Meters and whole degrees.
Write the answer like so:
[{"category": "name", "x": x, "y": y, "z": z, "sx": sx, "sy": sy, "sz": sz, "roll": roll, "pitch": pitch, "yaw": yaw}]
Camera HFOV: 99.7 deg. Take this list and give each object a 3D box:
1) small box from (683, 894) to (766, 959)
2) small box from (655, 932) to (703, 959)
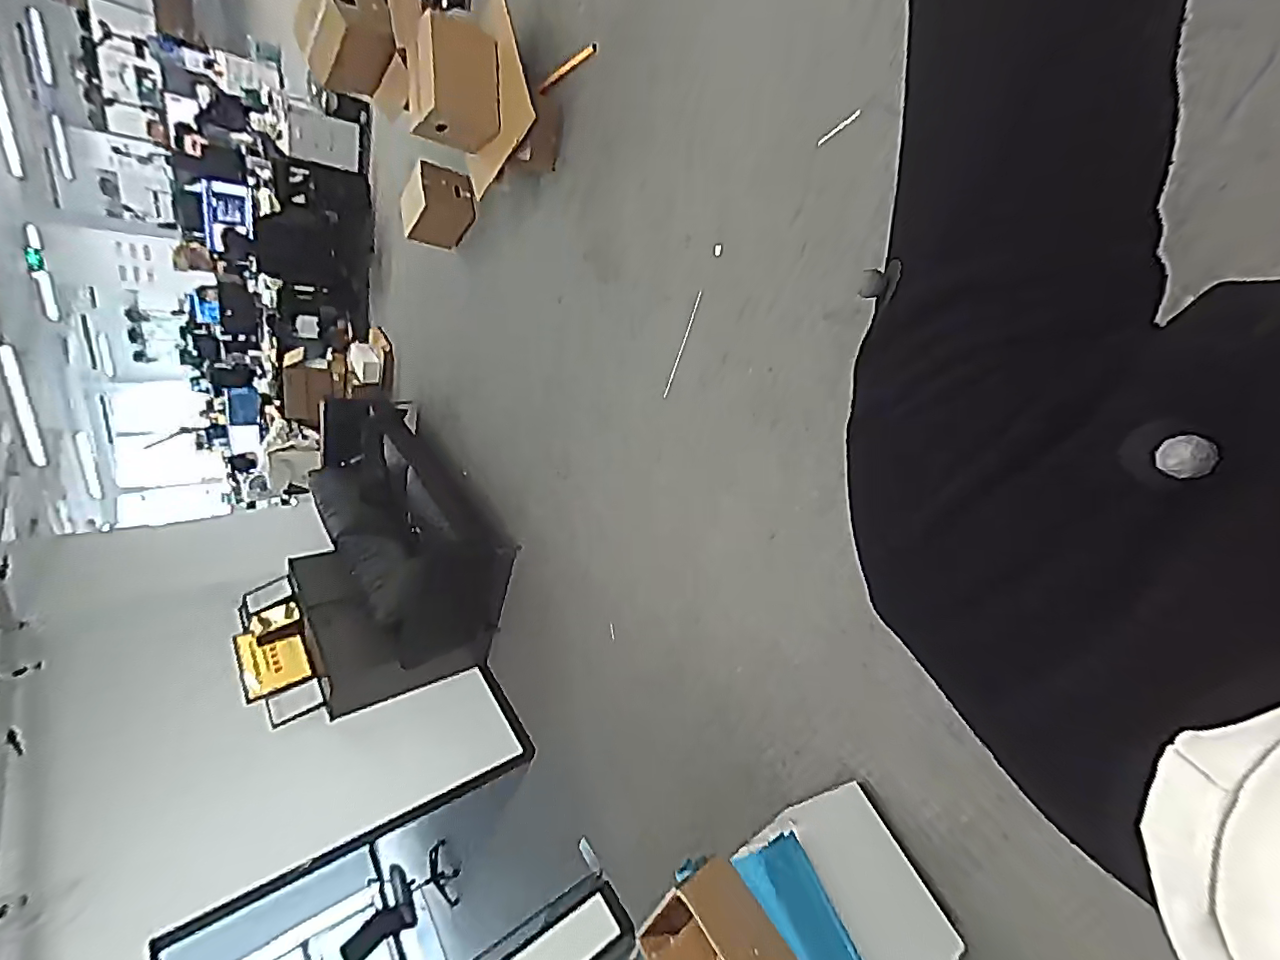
[{"category": "small box", "x": 0.218, "y": 1.312, "z": 1.499, "sx": 0.179, "sy": 0.176, "sz": 0.168, "roll": 42, "pitch": 129, "yaw": 36}, {"category": "small box", "x": 0.094, "y": 1.339, "z": 1.396, "sx": 0.179, "sy": 0.176, "sz": 0.168, "roll": 41, "pitch": 128, "yaw": 38}]
